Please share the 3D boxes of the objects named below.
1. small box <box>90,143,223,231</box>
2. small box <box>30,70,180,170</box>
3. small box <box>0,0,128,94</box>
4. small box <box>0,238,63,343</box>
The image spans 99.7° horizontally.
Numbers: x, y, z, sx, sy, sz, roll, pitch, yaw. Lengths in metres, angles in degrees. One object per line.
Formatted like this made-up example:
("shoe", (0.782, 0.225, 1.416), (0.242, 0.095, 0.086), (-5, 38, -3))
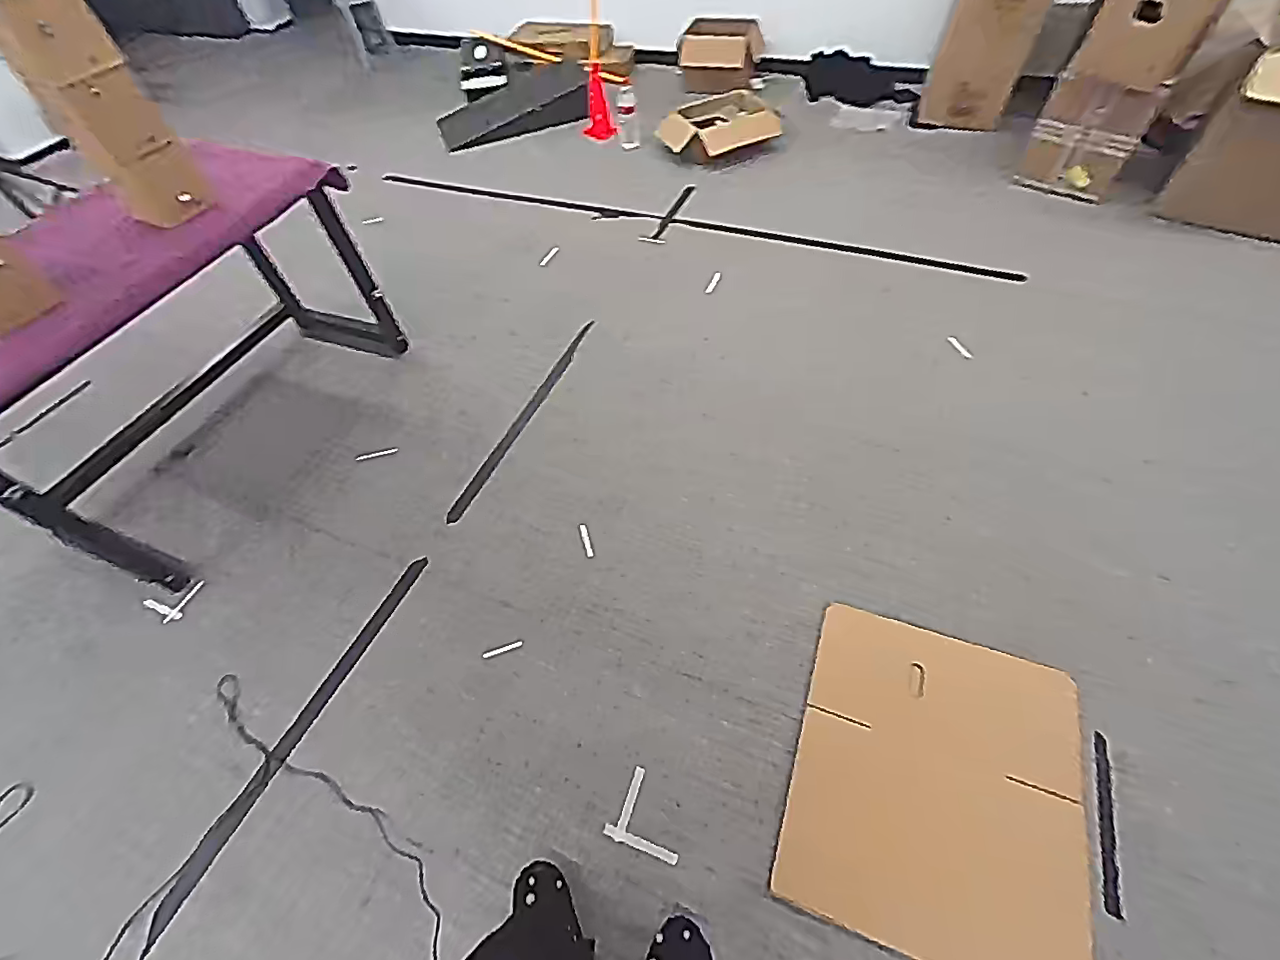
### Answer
("small box", (-1.319, -0.812, 1.487), (0.179, 0.176, 0.168), (20, 59, 17))
("small box", (-1.326, -0.905, 1.353), (0.179, 0.176, 0.168), (21, 60, 20))
("small box", (-1.331, -0.998, 1.218), (0.179, 0.176, 0.168), (21, 60, 19))
("small box", (-1.505, -0.447, 1.243), (0.168, 0.176, 0.179), (20, 59, 19))
